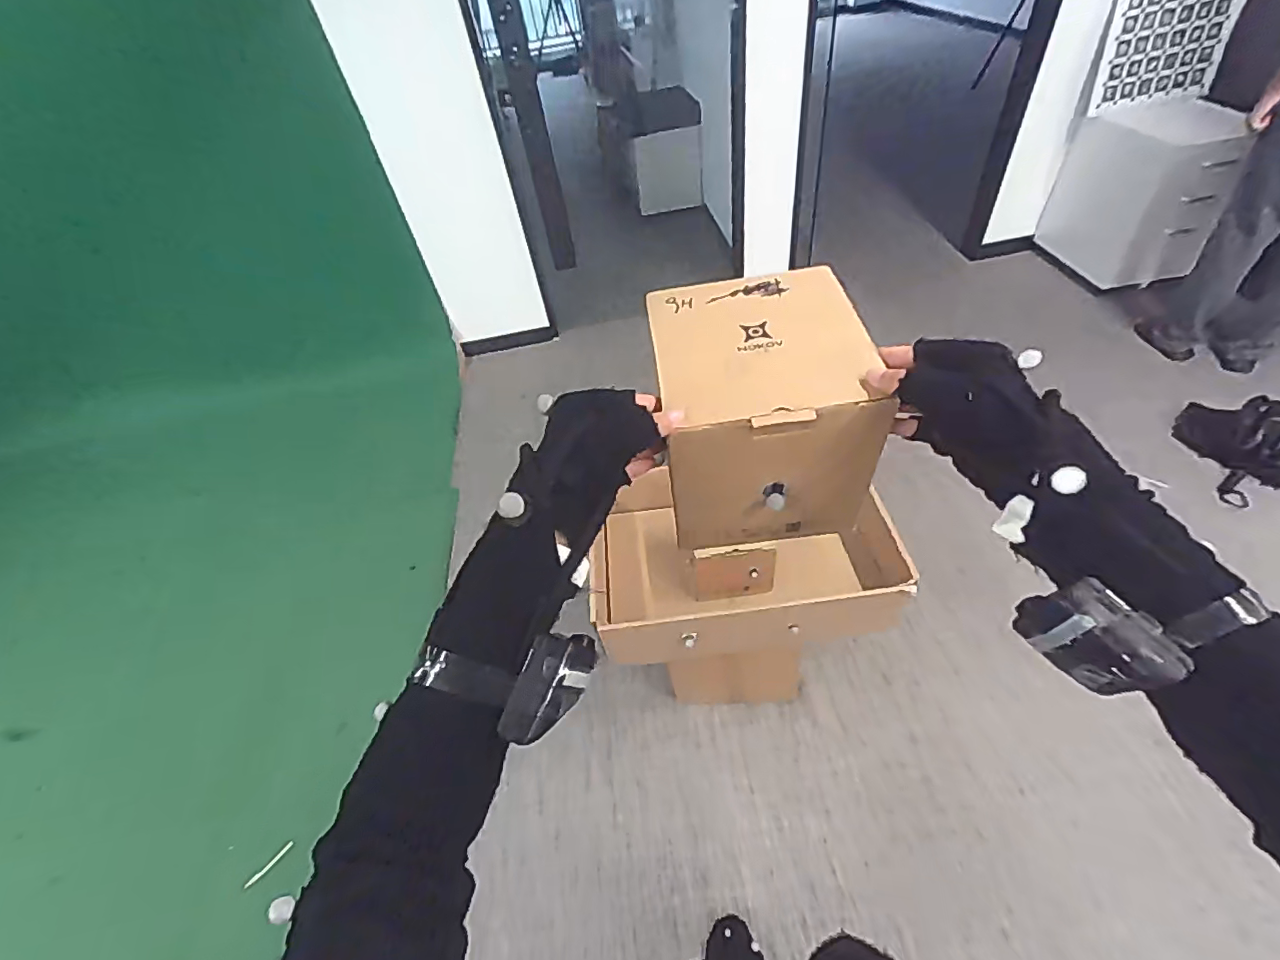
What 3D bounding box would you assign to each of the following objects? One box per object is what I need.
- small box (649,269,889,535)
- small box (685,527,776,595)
[{"bbox_3d":[0.103,-0.062,0.499,0.168,0.176,0.179,-7,52,3],"label":"small box"},{"bbox_3d":[0.189,0.135,1.172,0.168,0.176,0.179,-8,45,0],"label":"small box"}]
